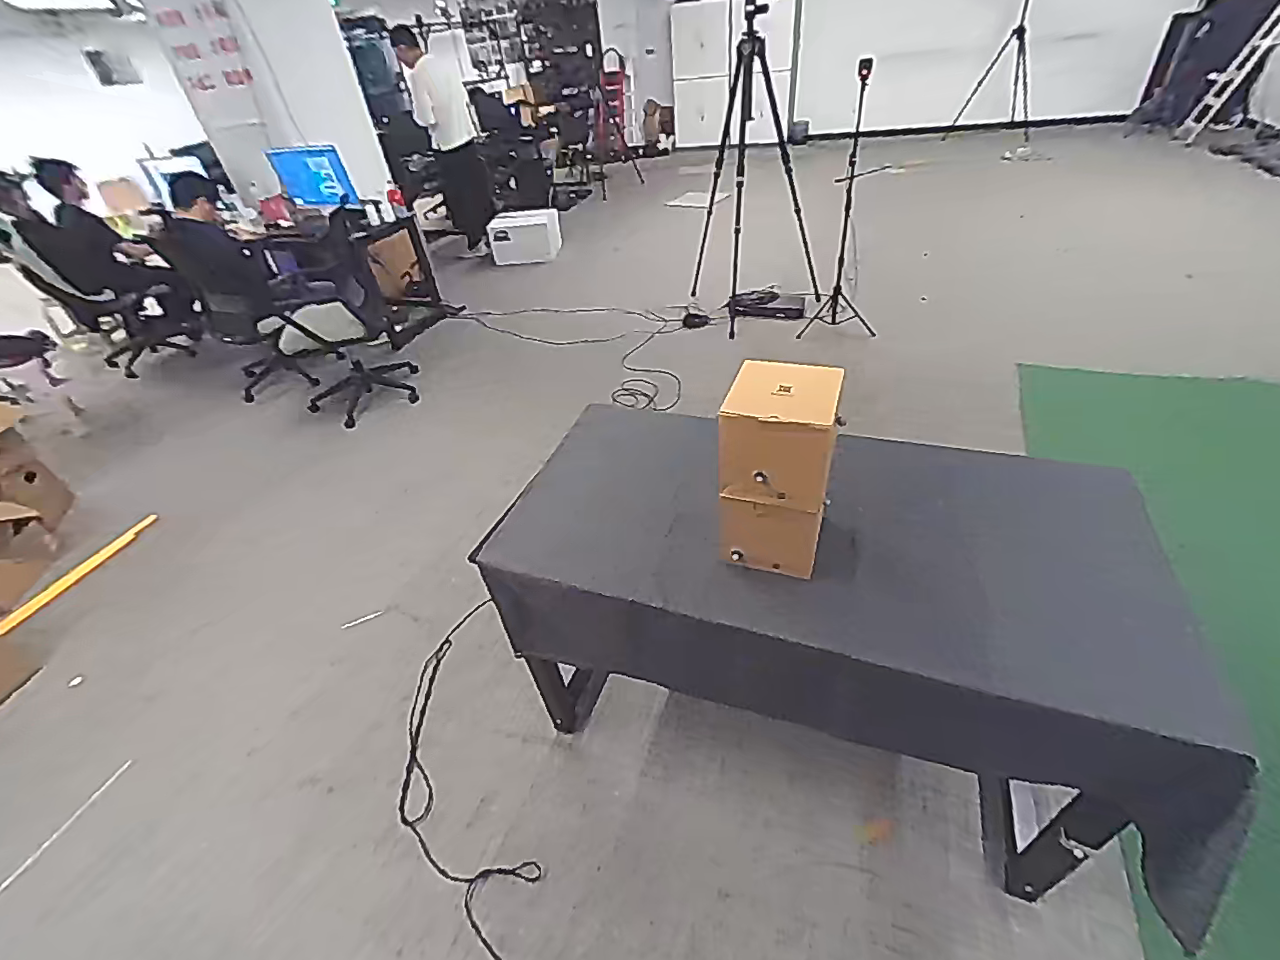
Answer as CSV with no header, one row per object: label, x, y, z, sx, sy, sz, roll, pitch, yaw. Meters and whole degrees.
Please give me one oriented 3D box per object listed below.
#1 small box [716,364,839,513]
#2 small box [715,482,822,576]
small box,0.227,-0.072,0.901,0.168,0.176,0.179,10,42,20
small box,0.242,0.053,1.003,0.168,0.176,0.179,9,41,20
